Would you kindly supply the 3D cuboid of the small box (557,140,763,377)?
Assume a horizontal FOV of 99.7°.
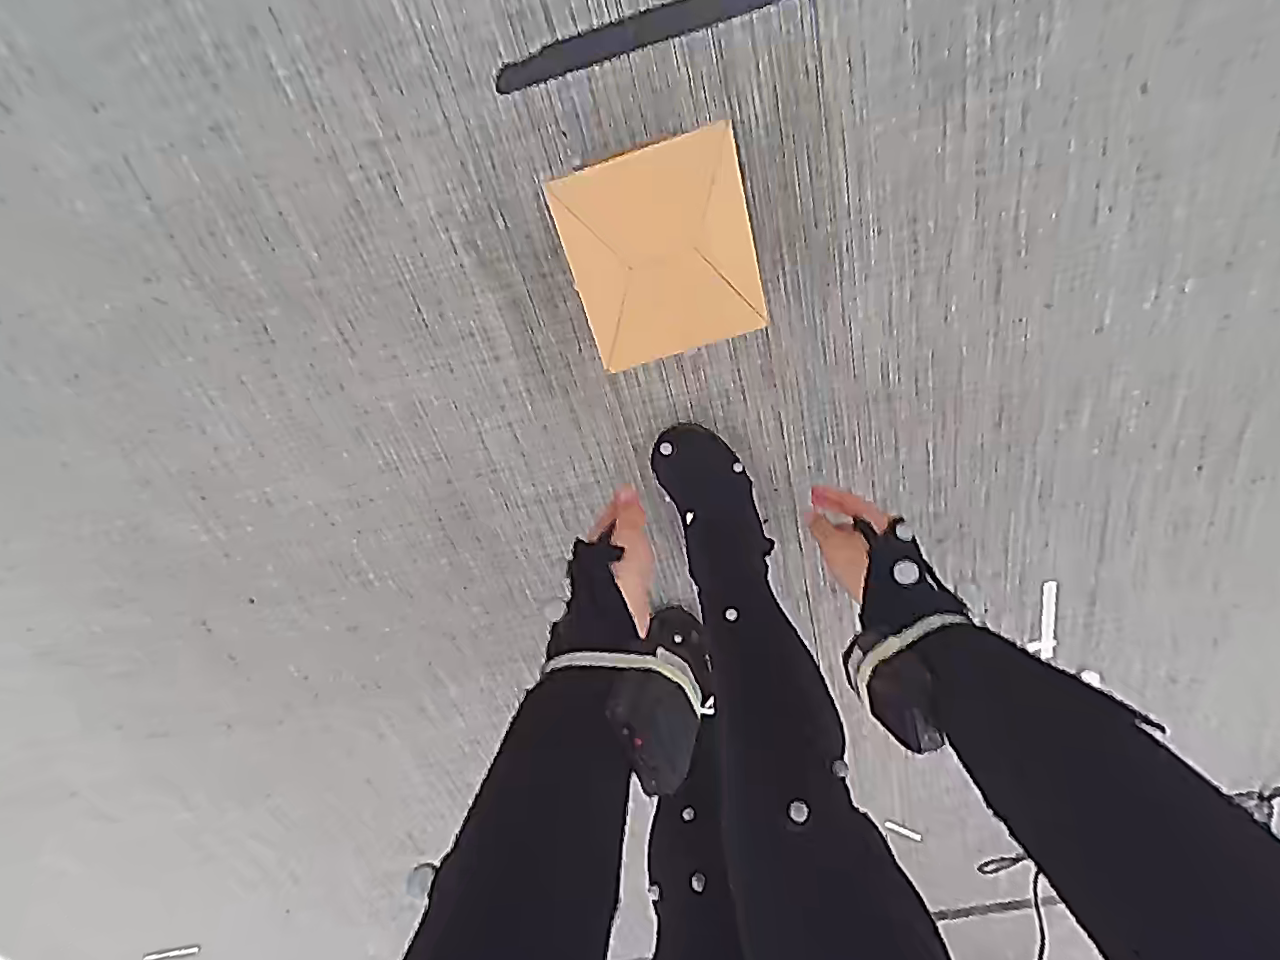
[{"bbox_3d":[0.020,-0.229,0.564,0.168,0.176,0.179,-15,116,6],"label":"small box"}]
